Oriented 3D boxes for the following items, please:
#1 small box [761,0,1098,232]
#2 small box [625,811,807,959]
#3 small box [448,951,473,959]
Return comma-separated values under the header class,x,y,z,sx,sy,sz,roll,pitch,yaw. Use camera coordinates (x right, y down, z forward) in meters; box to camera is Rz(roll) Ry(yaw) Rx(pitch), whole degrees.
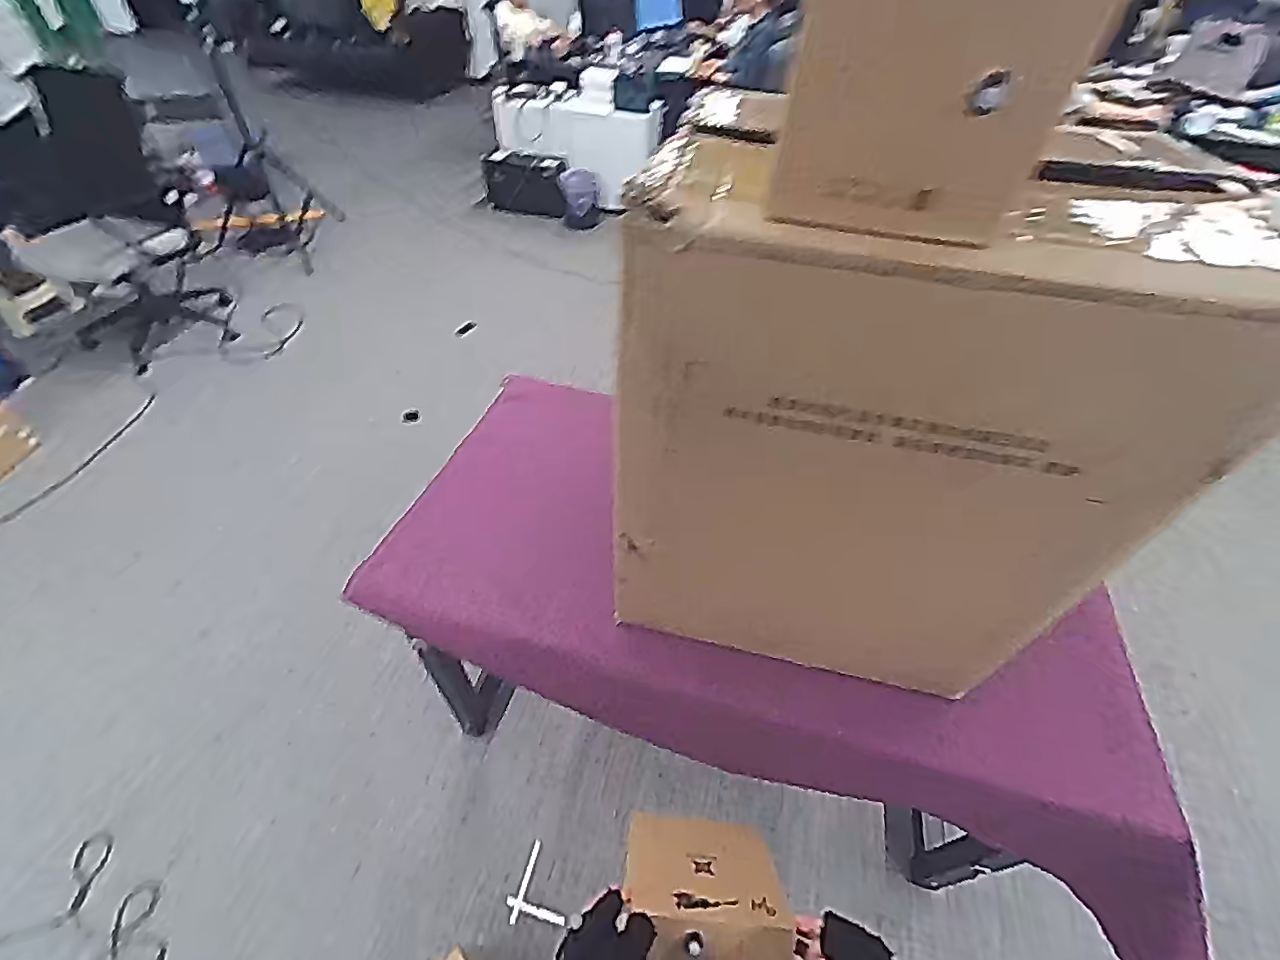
class,x,y,z,sx,sy,sz,roll,pitch,yaw
small box,0.189,-0.300,0.391,0.168,0.176,0.179,12,46,5
small box,0.071,0.501,0.590,0.168,0.179,0.176,5,85,1
small box,-0.341,1.015,0.981,0.168,0.176,0.179,-34,57,-29
